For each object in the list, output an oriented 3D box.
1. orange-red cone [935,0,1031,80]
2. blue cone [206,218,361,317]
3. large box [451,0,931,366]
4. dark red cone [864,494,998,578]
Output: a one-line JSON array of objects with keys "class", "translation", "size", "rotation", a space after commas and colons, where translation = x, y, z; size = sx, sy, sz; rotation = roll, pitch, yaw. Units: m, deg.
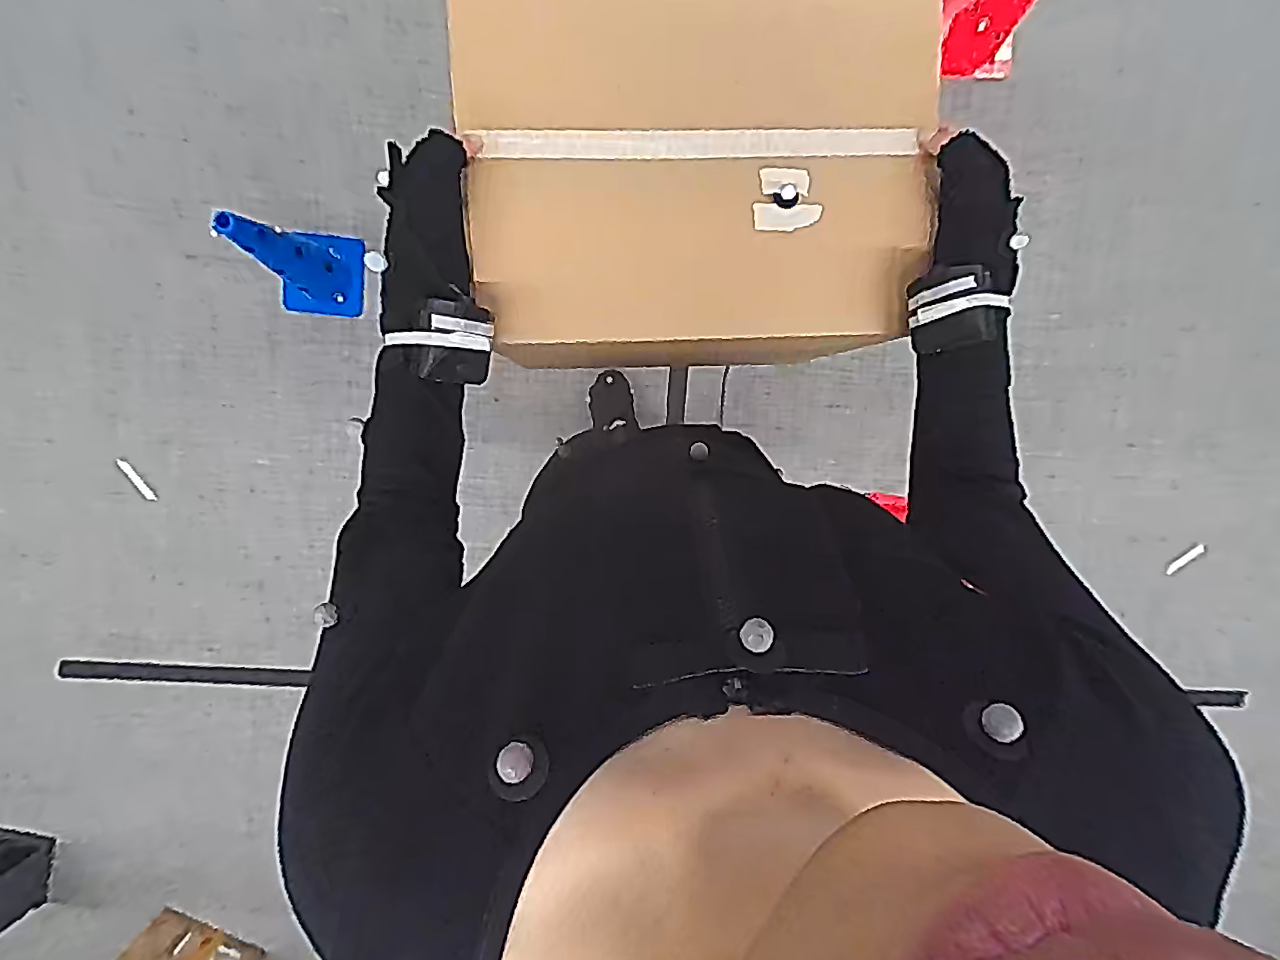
[{"class": "orange-red cone", "translation": [0.866, -1.128, 1.220], "size": [0.198, 0.360, 0.199], "rotation": [1, 94, -3]}, {"class": "blue cone", "translation": [-0.810, -0.502, 1.222], "size": [0.192, 0.380, 0.193], "rotation": [6, 95, -2]}, {"class": "large box", "translation": [0.038, -0.304, 0.603], "size": [0.408, 0.320, 0.320], "rotation": [-3, 98, -5]}, {"class": "dark red cone", "translation": [0.721, 0.161, 1.308], "size": [0.201, 0.394, 0.202], "rotation": [9, 95, -2]}]
